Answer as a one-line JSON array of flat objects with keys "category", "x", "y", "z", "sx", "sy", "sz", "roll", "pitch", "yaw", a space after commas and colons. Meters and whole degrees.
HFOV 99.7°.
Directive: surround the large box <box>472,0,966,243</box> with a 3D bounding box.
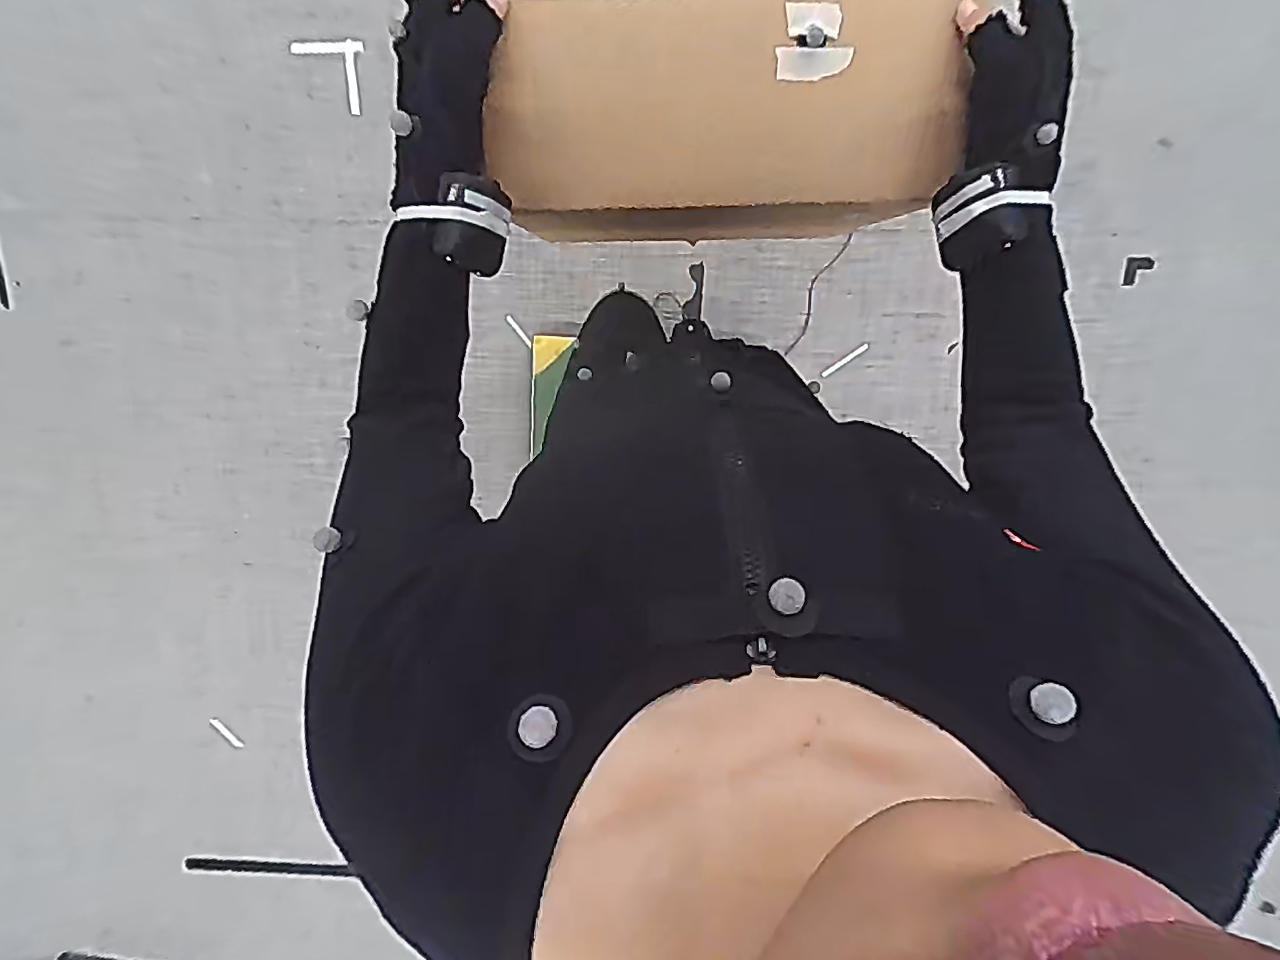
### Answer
[{"category": "large box", "x": 0.058, "y": -0.440, "z": 0.567, "sx": 0.408, "sy": 0.320, "sz": 0.320, "roll": -3, "pitch": 109, "yaw": -1}]
